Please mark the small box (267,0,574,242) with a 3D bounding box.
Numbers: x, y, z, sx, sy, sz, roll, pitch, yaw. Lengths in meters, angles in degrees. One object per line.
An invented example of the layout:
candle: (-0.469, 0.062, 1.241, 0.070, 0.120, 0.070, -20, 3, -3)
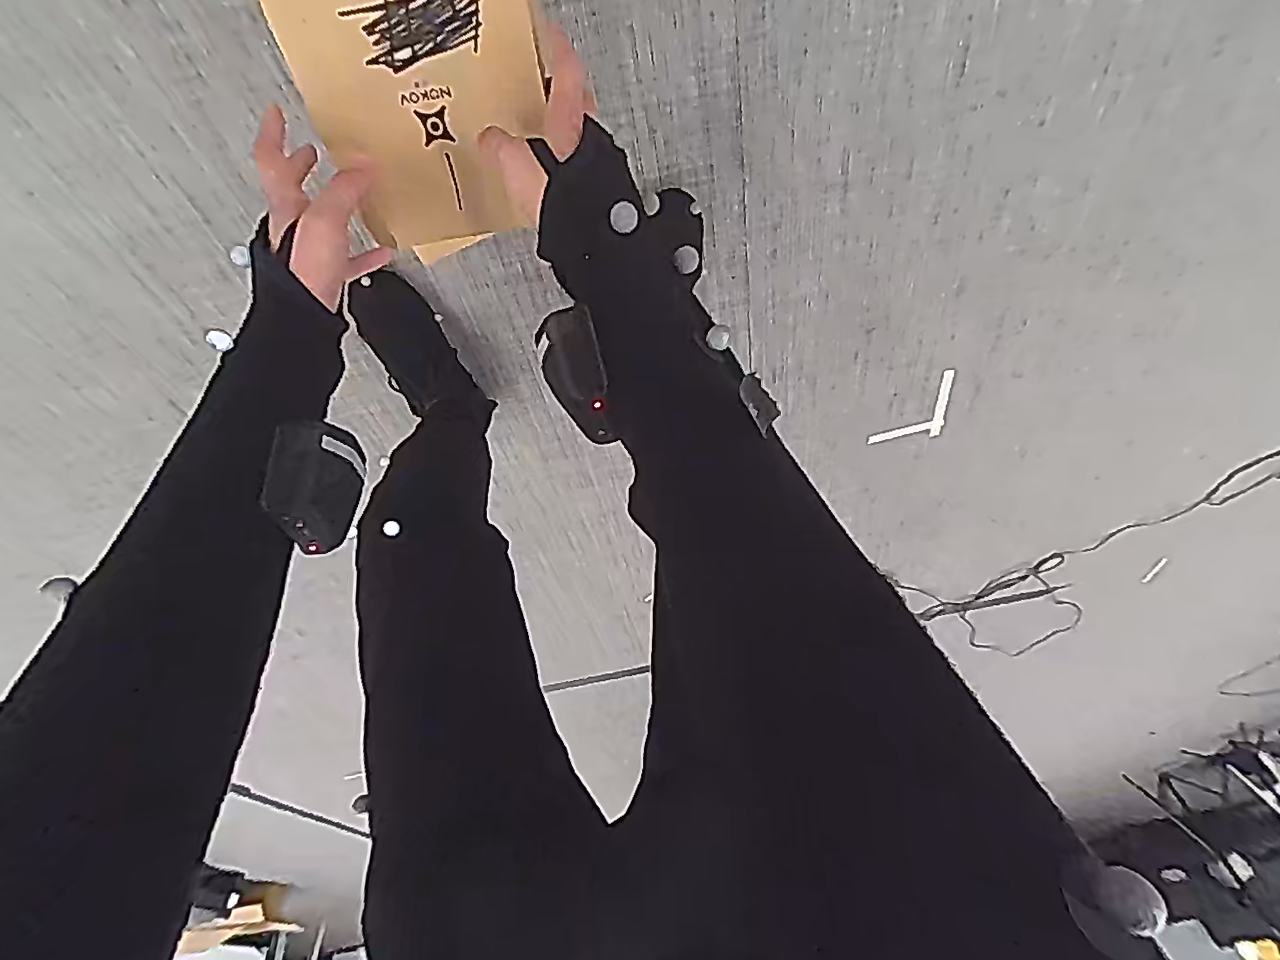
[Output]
small box: (-0.152, -0.320, 0.433, 0.168, 0.176, 0.179, -9, 136, 1)
